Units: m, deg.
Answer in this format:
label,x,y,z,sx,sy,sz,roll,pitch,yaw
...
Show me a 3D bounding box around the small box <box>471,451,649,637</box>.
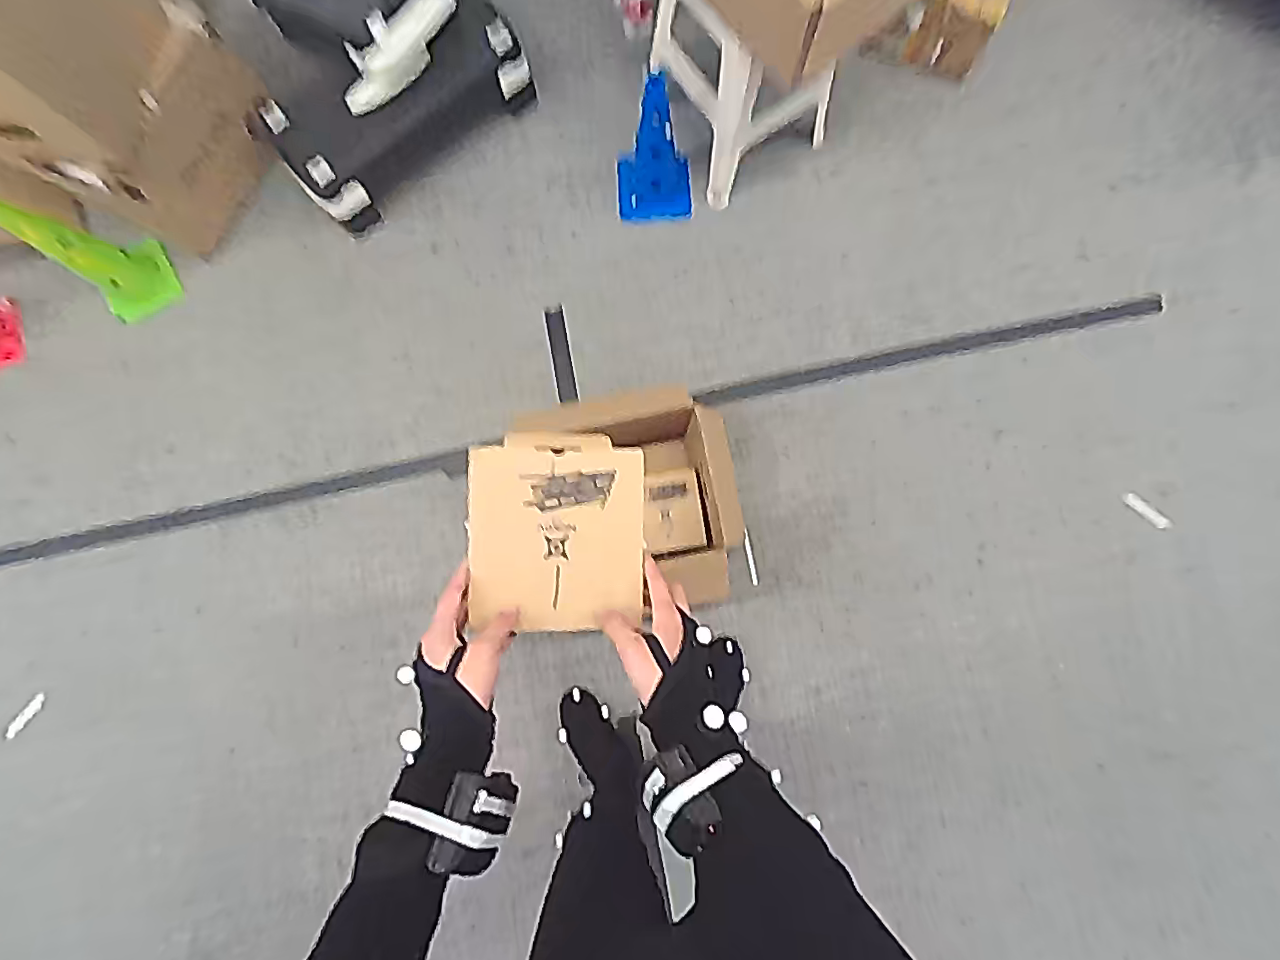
label,x,y,z,sx,sy,sz,roll,pitch,yaw
small box,-0.083,0.071,0.593,0.168,0.176,0.179,1,83,-7
